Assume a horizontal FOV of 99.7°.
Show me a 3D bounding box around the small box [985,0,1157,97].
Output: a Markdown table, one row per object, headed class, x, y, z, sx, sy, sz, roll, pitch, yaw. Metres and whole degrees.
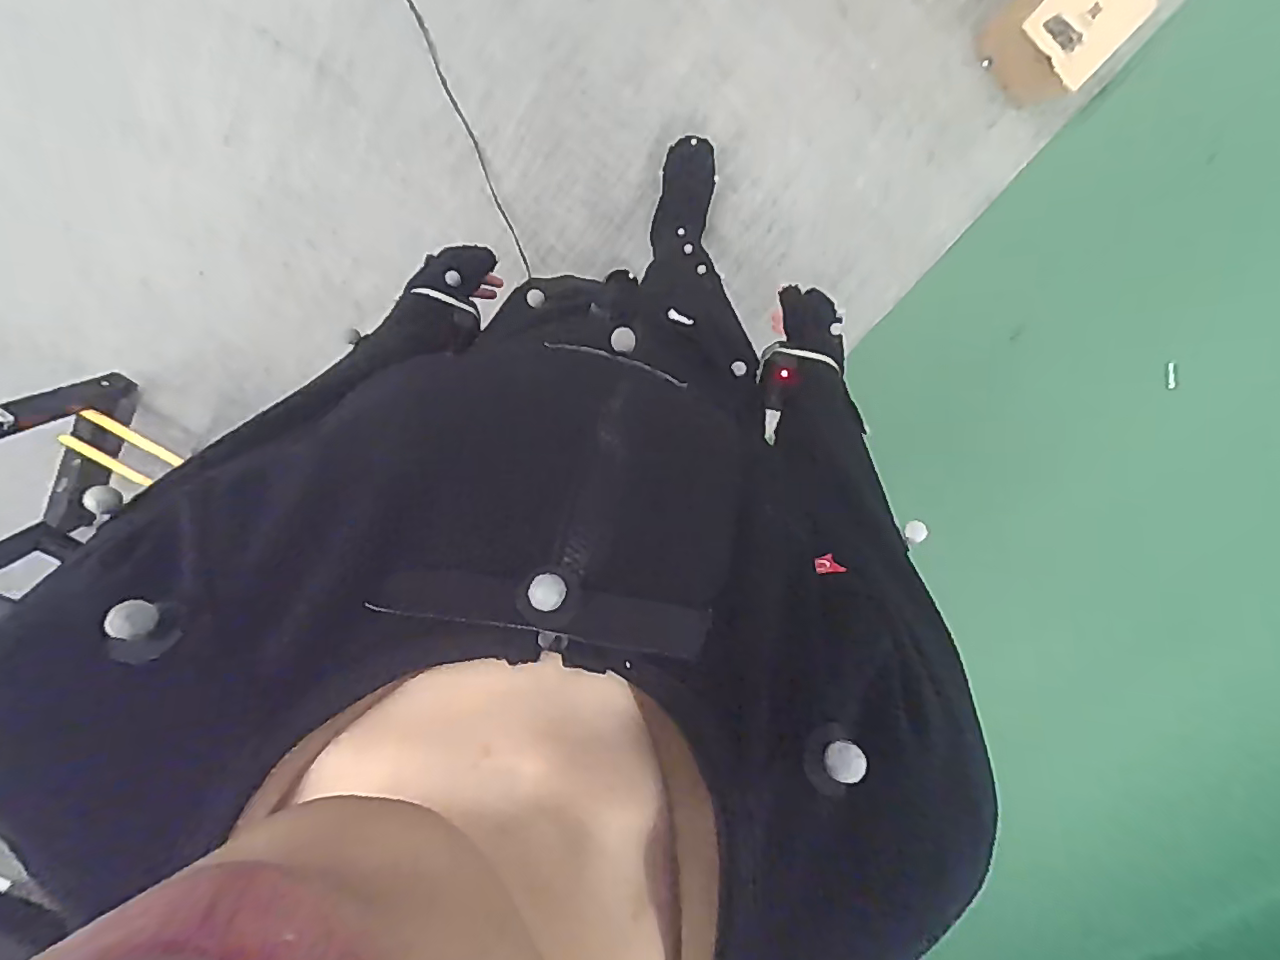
| class | x | y | z | sx | sy | sz | roll | pitch | yaw |
| --- | --- | --- | --- | --- | --- | --- | --- | --- | --- |
| small box | 0.803 | -0.877 | 1.029 | 0.168 | 0.176 | 0.179 | 37 | 111 | -16 |
